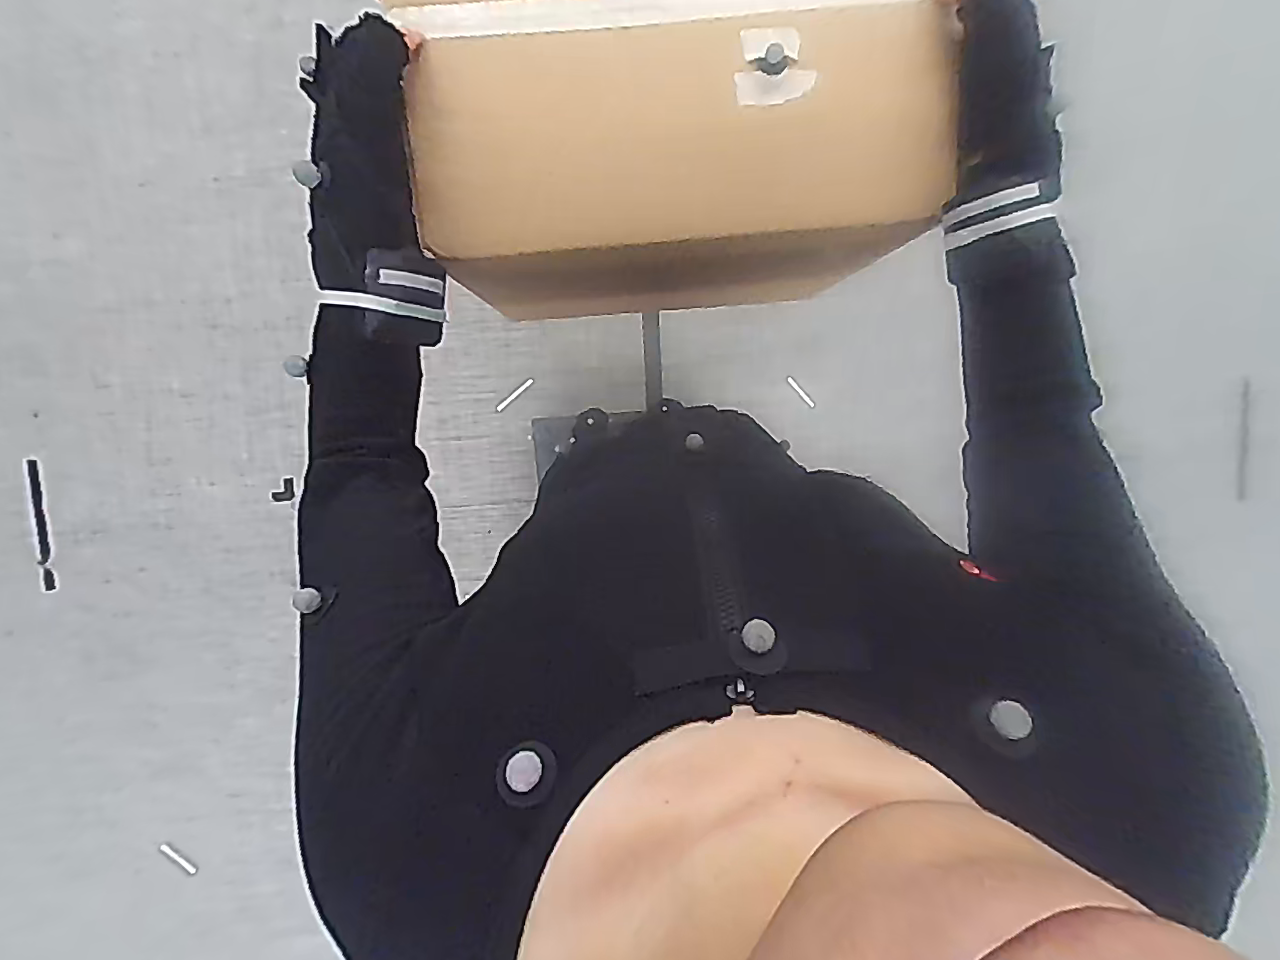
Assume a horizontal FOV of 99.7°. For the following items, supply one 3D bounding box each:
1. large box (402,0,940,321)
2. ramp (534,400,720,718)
[{"bbox_3d":[0.018,-0.361,0.550,0.408,0.320,0.320,-5,98,-2],"label":"large box"},{"bbox_3d":[-0.011,0.271,1.602,0.509,0.206,0.991,-6,97,-2],"label":"ramp"}]
